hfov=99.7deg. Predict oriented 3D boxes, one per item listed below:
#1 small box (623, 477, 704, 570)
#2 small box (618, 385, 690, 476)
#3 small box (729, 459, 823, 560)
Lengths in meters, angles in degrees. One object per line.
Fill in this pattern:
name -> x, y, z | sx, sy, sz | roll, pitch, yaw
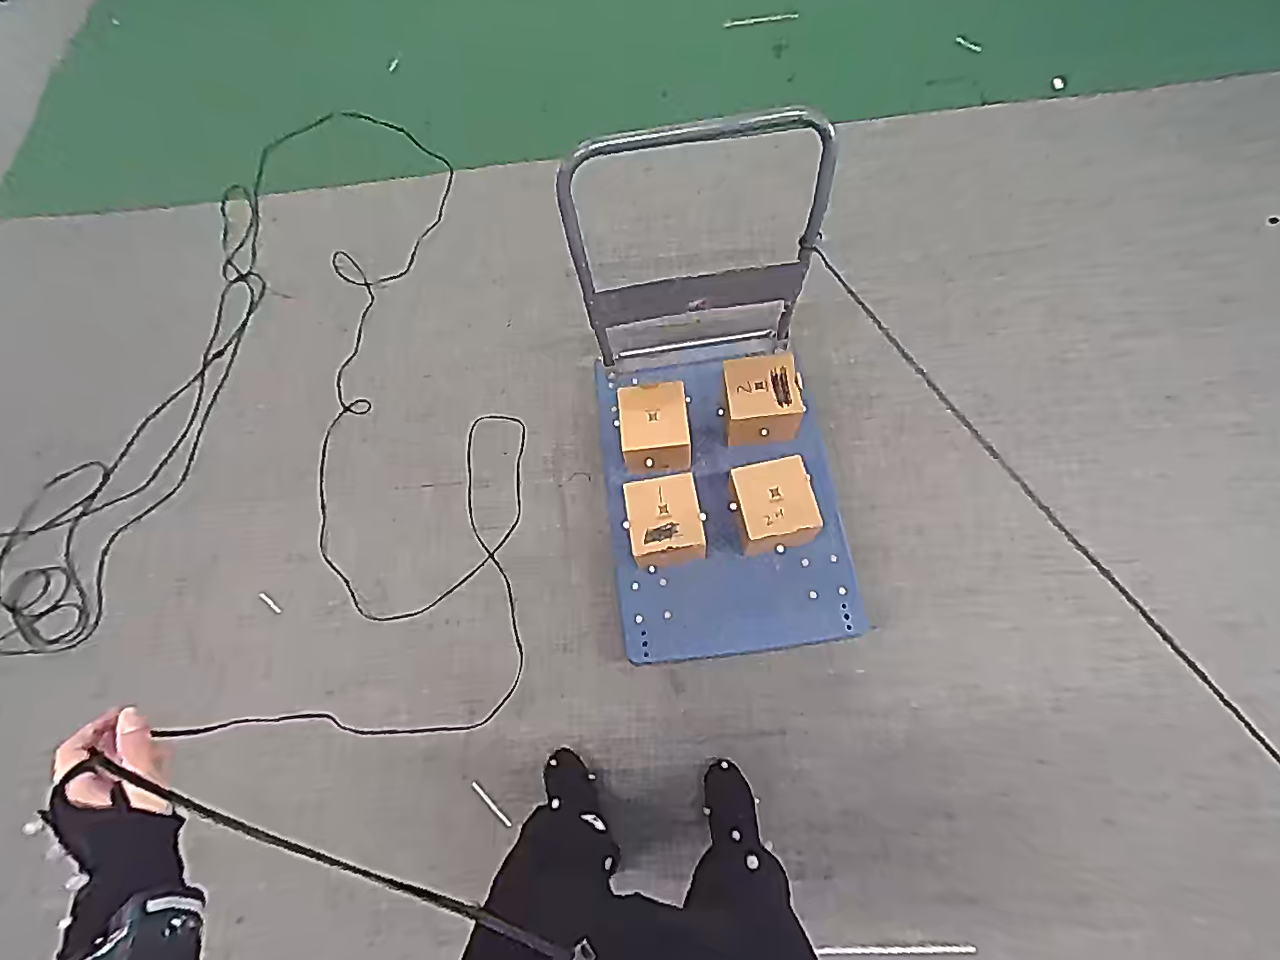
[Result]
small box -> 0.059, 0.112, 1.292 | 0.168, 0.176, 0.179 | -10, 68, 1
small box -> 0.038, -0.119, 1.382 | 0.168, 0.176, 0.179 | -6, 69, 3
small box -> 0.311, 0.075, 1.281 | 0.168, 0.176, 0.179 | -12, 68, 1
